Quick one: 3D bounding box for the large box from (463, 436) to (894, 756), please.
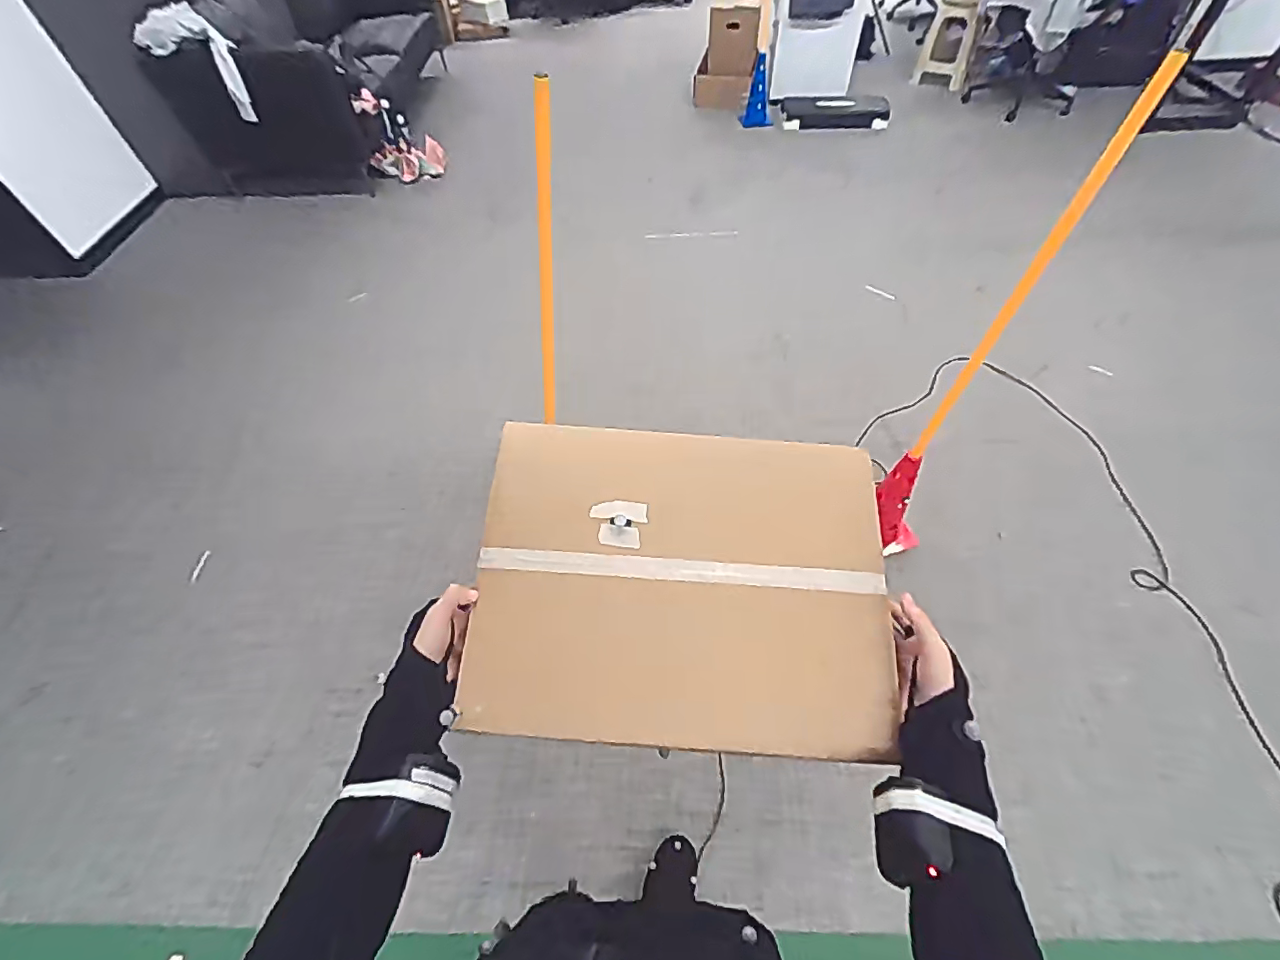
[{"bbox_3d":[0.043,0.157,0.688,0.408,0.320,0.320,4,66,1],"label":"large box"}]
